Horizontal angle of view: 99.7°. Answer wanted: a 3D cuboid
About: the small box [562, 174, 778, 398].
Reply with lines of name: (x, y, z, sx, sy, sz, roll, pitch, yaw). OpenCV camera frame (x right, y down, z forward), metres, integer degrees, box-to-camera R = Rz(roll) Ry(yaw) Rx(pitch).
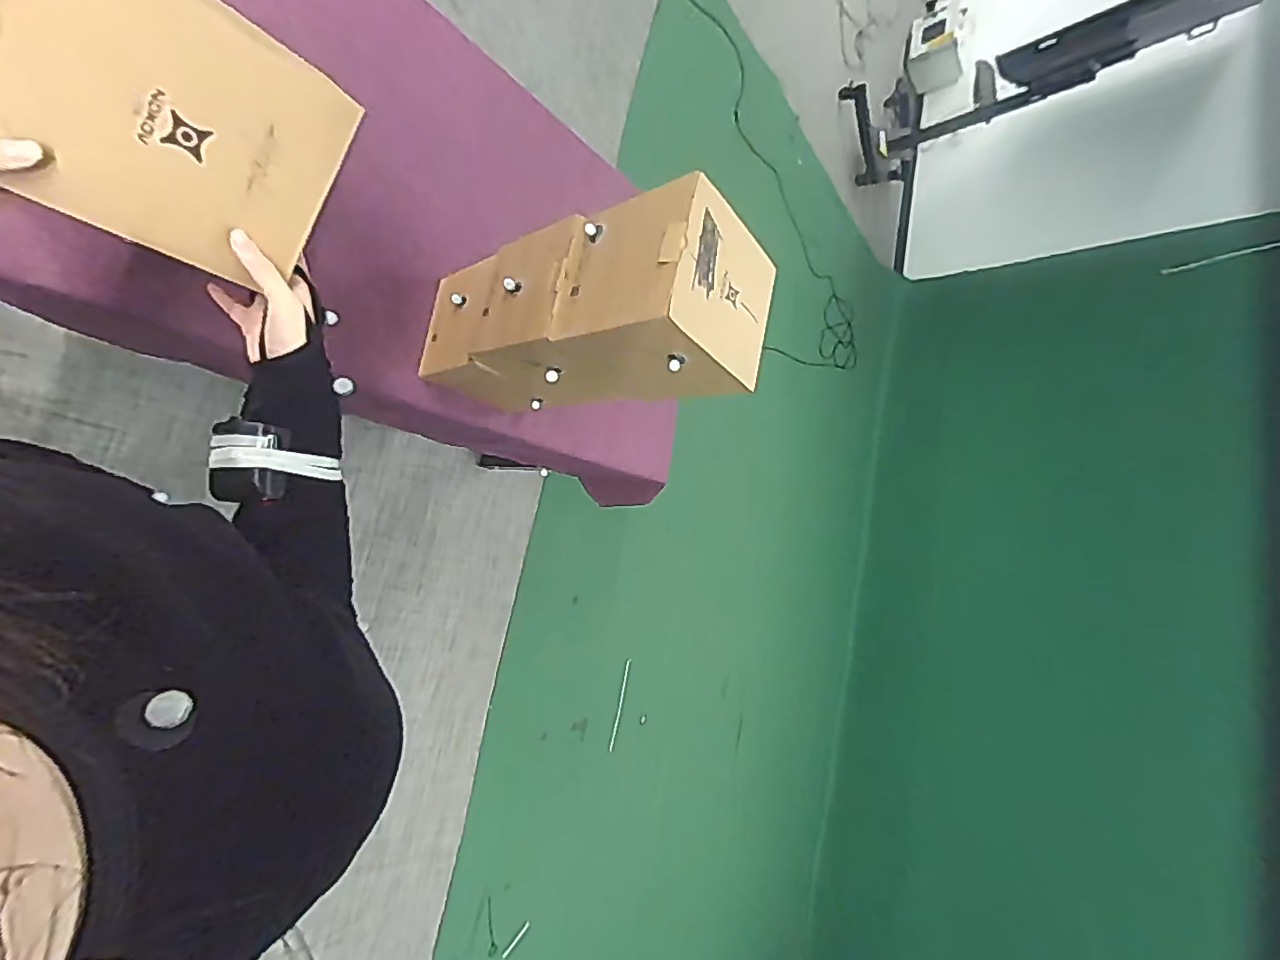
small box: (0.035, -0.203, 0.628, 0.179, 0.176, 0.168, 25, 74, -47)

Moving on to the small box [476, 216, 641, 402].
small box: (-0.092, -0.212, 0.732, 0.179, 0.176, 0.168, 24, 75, -45)

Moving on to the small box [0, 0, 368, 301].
small box: (-0.343, -0.273, 0.407, 0.179, 0.176, 0.168, 19, 114, -48)

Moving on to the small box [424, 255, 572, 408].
small box: (-0.209, -0.216, 0.848, 0.179, 0.176, 0.168, 19, 78, -47)
